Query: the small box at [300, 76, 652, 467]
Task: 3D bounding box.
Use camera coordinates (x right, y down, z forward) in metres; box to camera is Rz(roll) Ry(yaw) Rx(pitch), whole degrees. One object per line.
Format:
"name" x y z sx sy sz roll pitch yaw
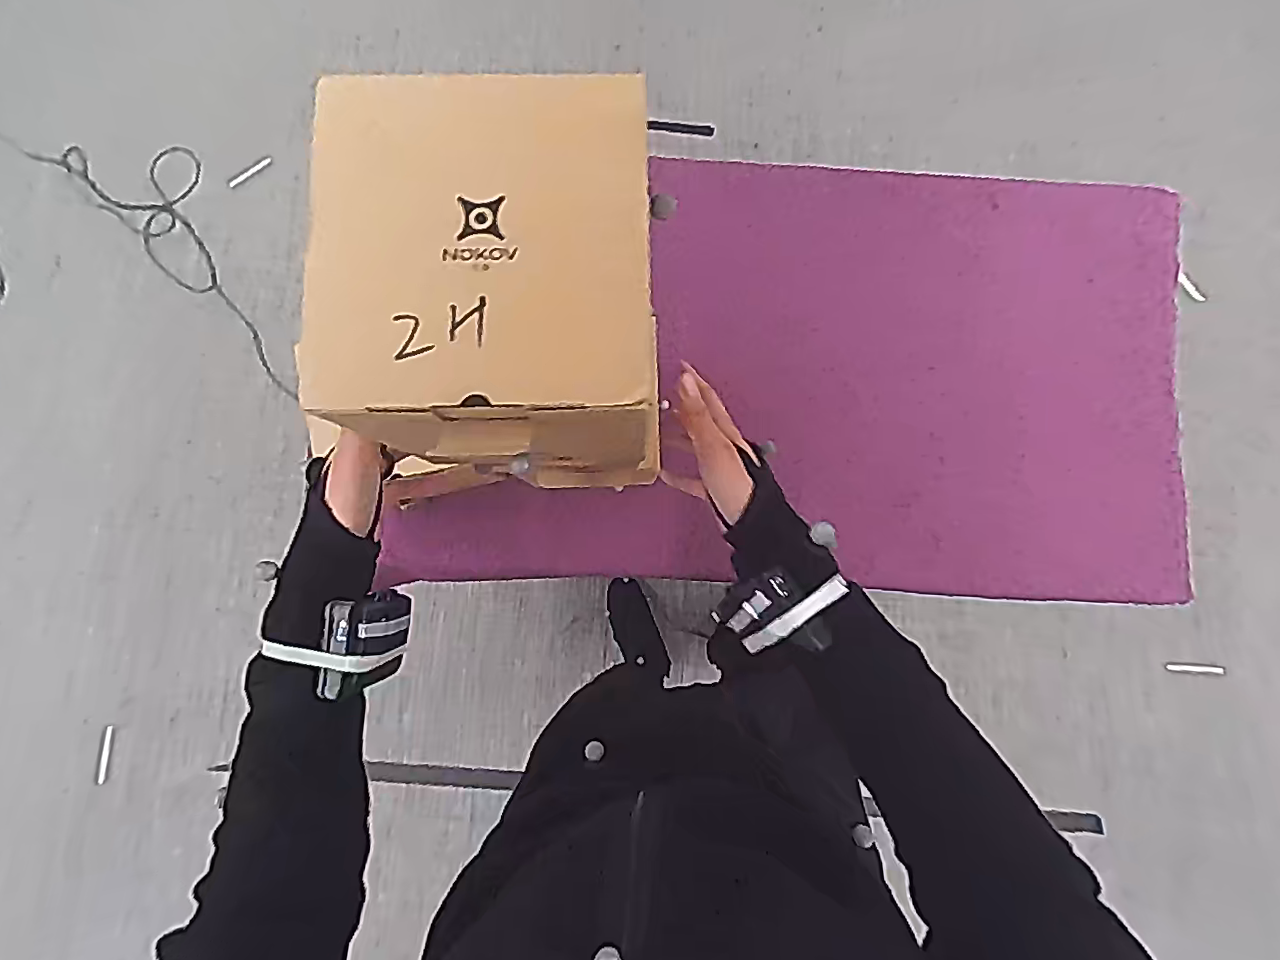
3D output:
"small box" -0.078 -0.108 0.344 0.168 0.176 0.179 0 84 0

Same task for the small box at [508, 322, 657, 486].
"small box" -0.064 -0.084 0.674 0.168 0.176 0.179 0 84 -2
